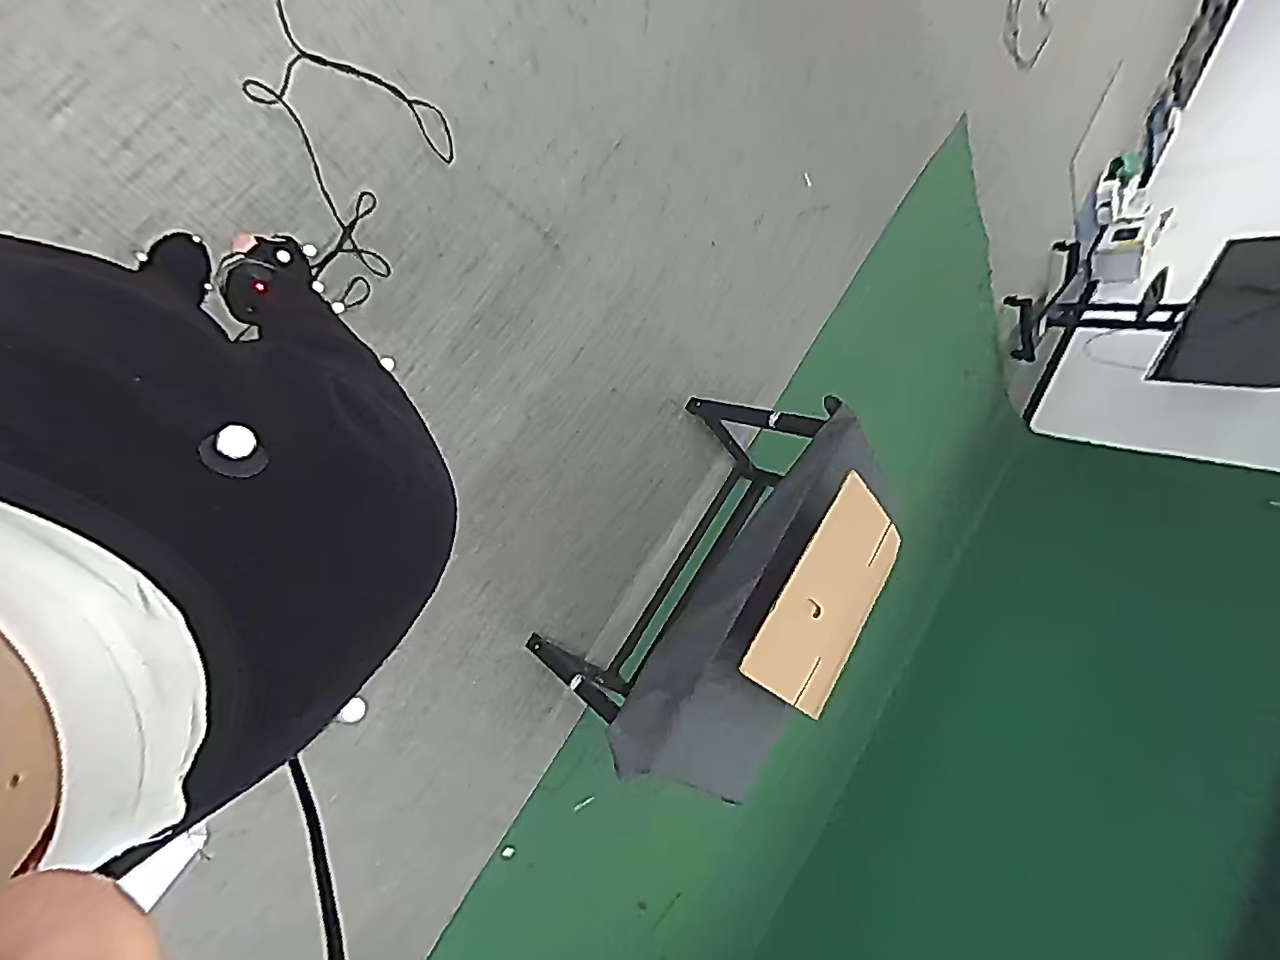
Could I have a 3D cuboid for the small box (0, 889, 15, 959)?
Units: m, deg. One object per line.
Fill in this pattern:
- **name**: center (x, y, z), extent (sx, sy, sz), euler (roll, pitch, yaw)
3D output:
- **small box**: center (-0.930, 0.629, 0.656), extent (0.179, 0.176, 0.168), euler (-56, 133, -12)
